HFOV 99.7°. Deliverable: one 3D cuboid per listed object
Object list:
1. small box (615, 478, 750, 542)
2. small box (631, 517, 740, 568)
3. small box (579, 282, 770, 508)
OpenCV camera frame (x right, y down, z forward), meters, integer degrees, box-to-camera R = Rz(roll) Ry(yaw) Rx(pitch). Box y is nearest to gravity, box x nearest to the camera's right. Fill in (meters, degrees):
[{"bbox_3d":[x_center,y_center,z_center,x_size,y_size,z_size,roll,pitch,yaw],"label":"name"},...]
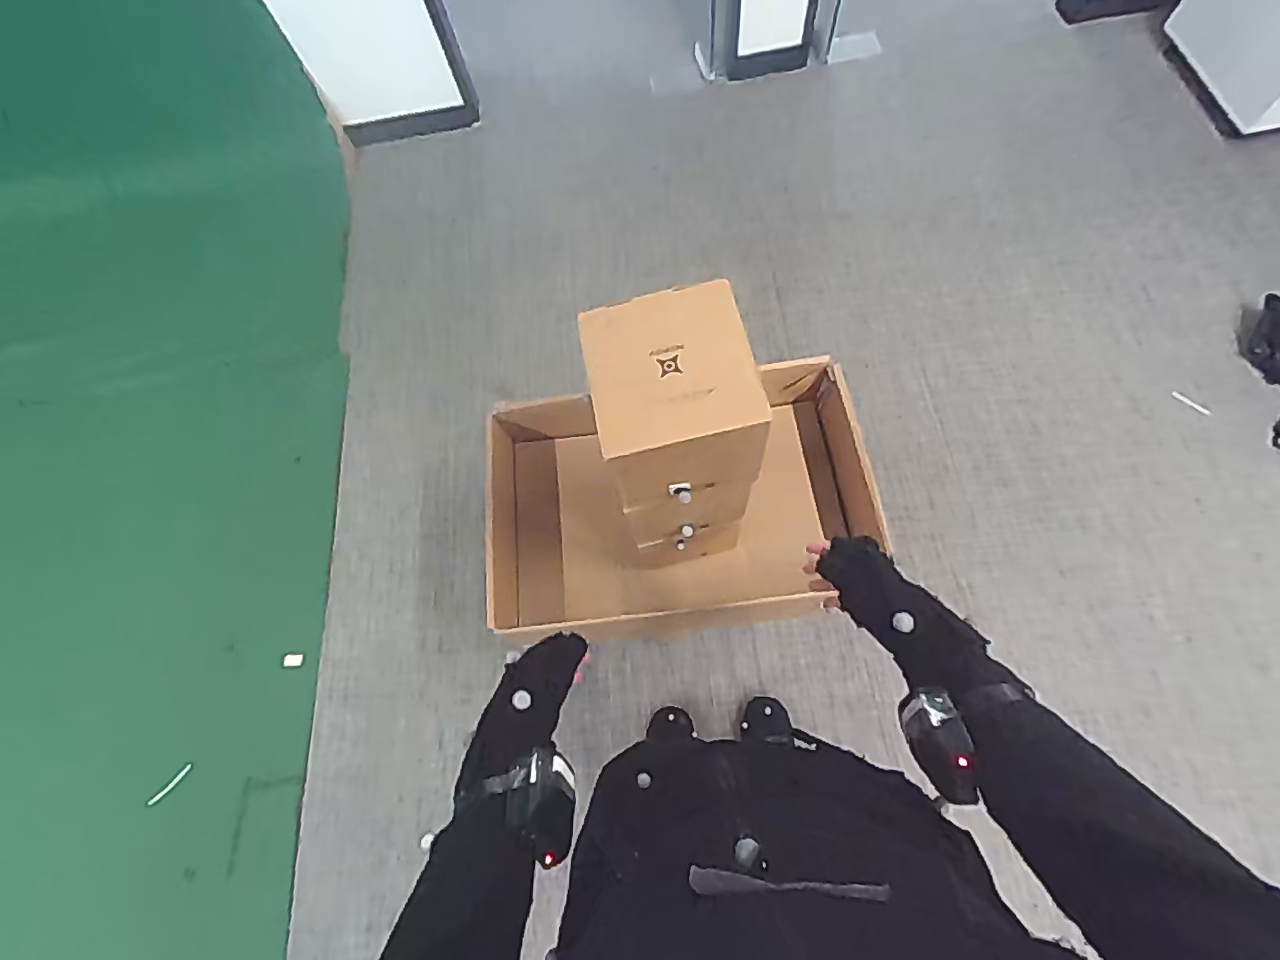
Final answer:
[{"bbox_3d":[0.048,-0.028,0.767,0.168,0.176,0.179,-13,69,1],"label":"small box"},{"bbox_3d":[0.063,0.034,0.918,0.168,0.176,0.179,-14,67,2],"label":"small box"},{"bbox_3d":[0.037,-0.086,0.617,0.168,0.176,0.179,-13,69,3],"label":"small box"}]
